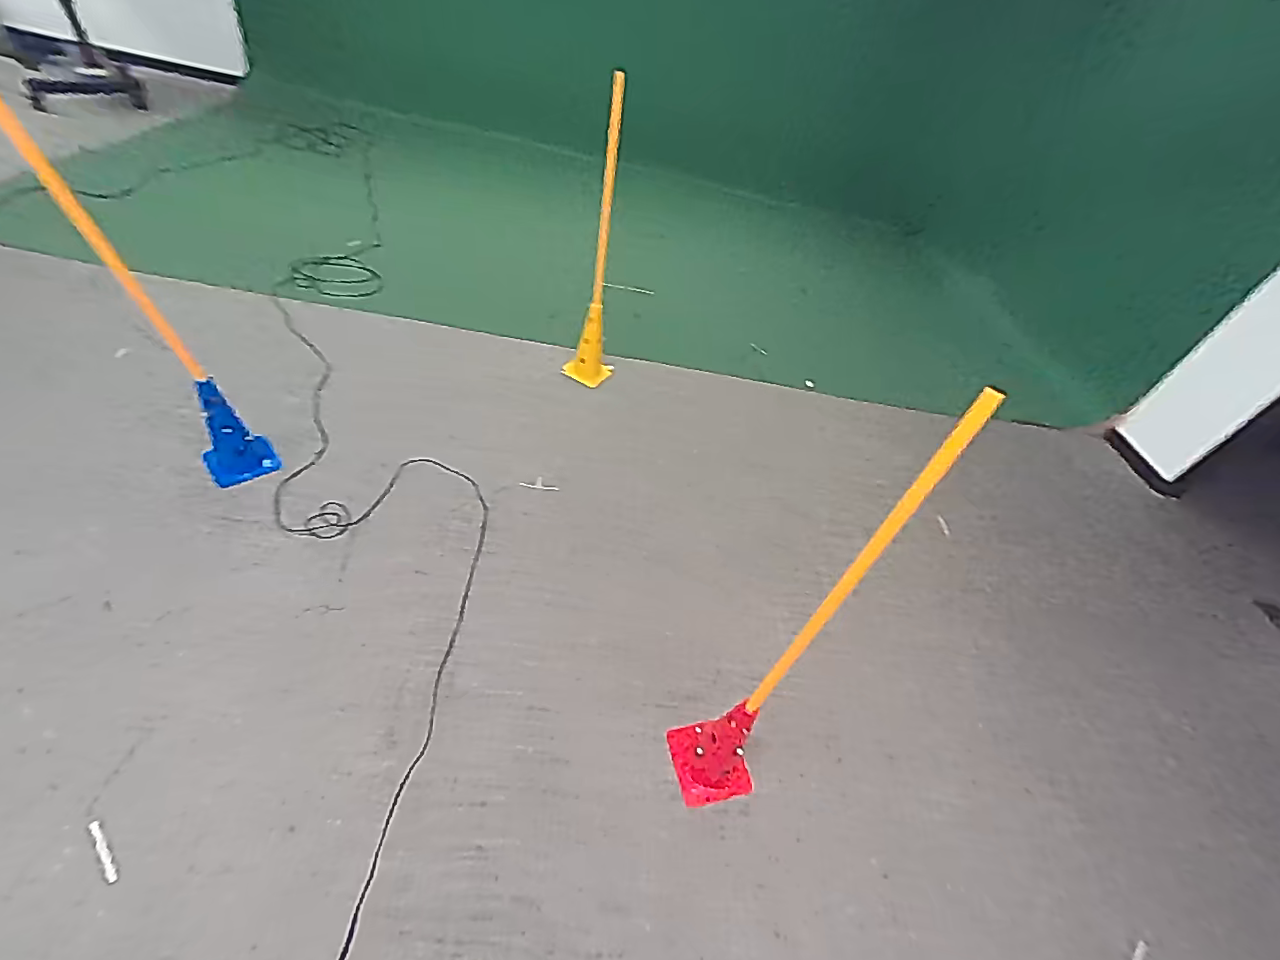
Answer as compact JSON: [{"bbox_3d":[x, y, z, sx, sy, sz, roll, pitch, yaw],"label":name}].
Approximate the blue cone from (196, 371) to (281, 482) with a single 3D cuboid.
[{"bbox_3d":[-1.340,-0.185,1.752,0.193,0.380,0.192,-30,61,-34],"label":"blue cone"}]
